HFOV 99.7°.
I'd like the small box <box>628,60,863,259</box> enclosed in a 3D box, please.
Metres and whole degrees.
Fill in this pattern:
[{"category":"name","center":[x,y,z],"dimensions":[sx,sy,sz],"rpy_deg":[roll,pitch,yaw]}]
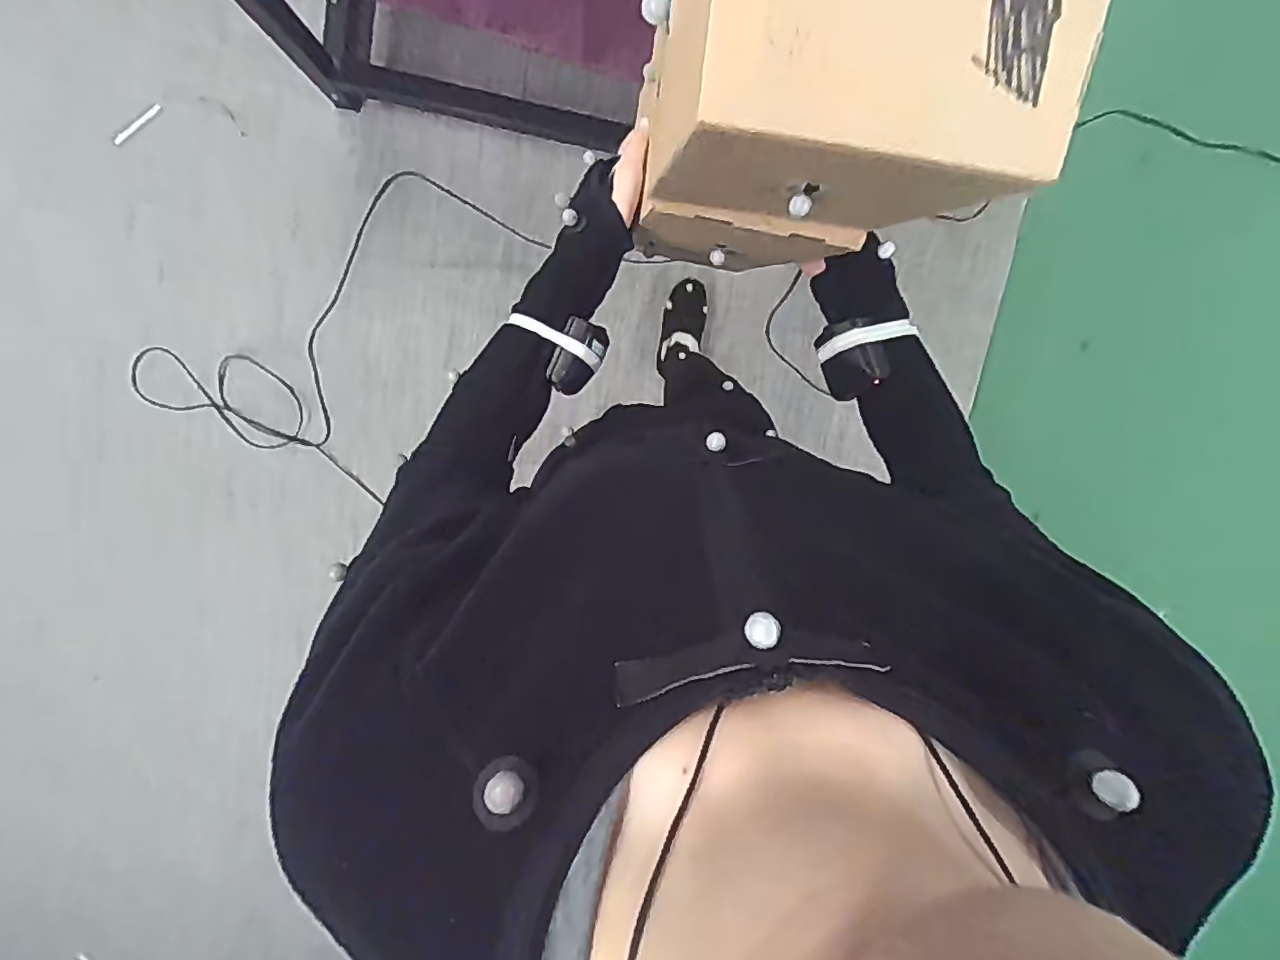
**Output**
[{"category":"small box","center":[0.087,-0.295,0.447],"dimensions":[0.168,0.176,0.179],"rpy_deg":[7,107,-9]}]

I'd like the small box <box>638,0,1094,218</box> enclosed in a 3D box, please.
[{"category":"small box","center":[0.102,-0.249,0.289],"dimensions":[0.179,0.176,0.168],"rpy_deg":[4,106,-8]}]
